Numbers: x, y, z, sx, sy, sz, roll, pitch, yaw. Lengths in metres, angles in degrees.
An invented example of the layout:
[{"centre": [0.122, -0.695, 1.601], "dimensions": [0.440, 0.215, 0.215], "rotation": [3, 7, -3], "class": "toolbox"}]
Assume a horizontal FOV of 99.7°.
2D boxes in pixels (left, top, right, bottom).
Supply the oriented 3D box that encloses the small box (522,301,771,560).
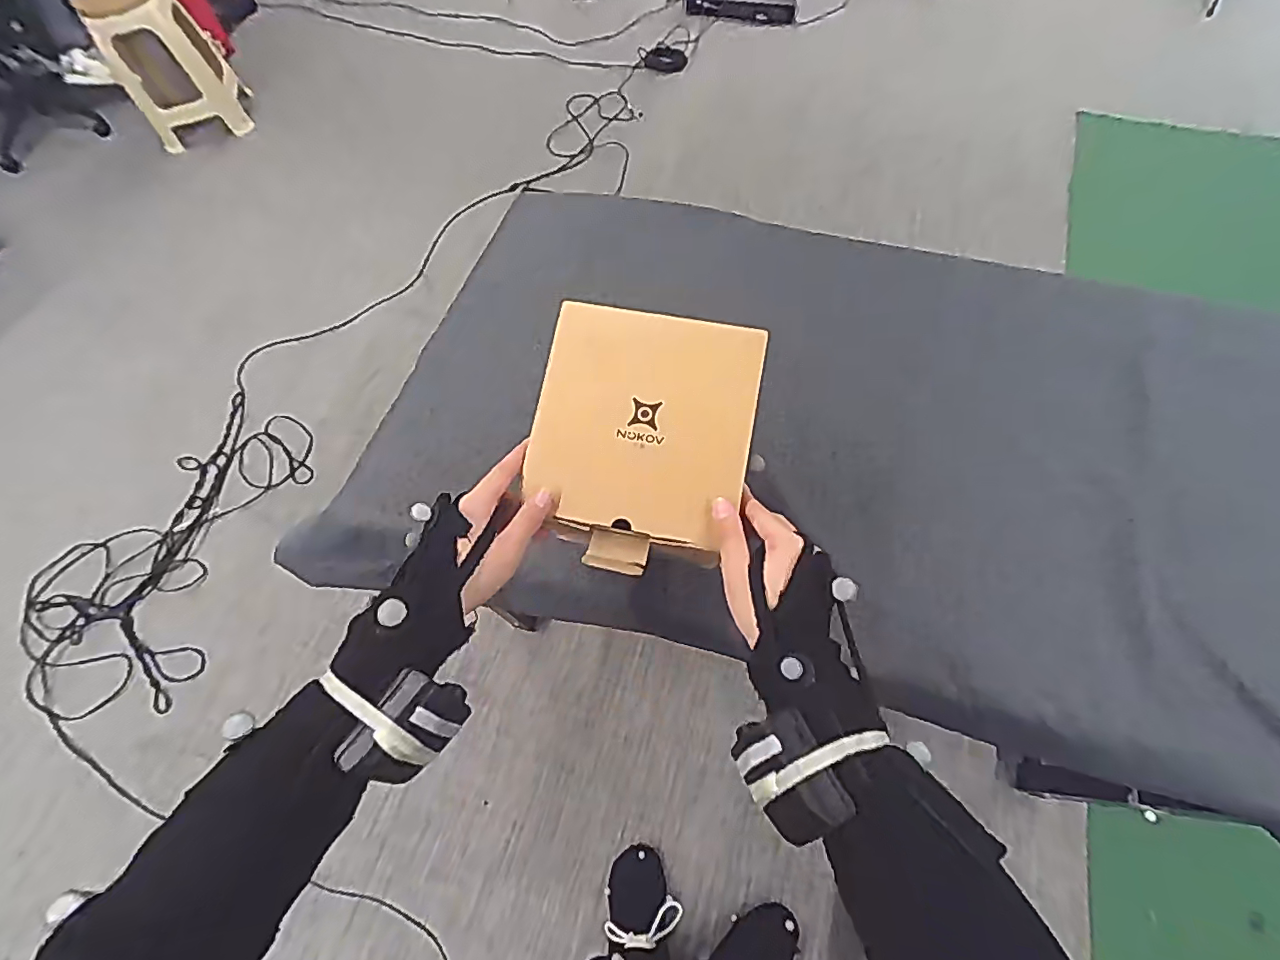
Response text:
[{"centre": [0.010, -0.031, 0.490], "dimensions": [0.168, 0.176, 0.179], "rotation": [10, 79, 5], "class": "small box"}]
